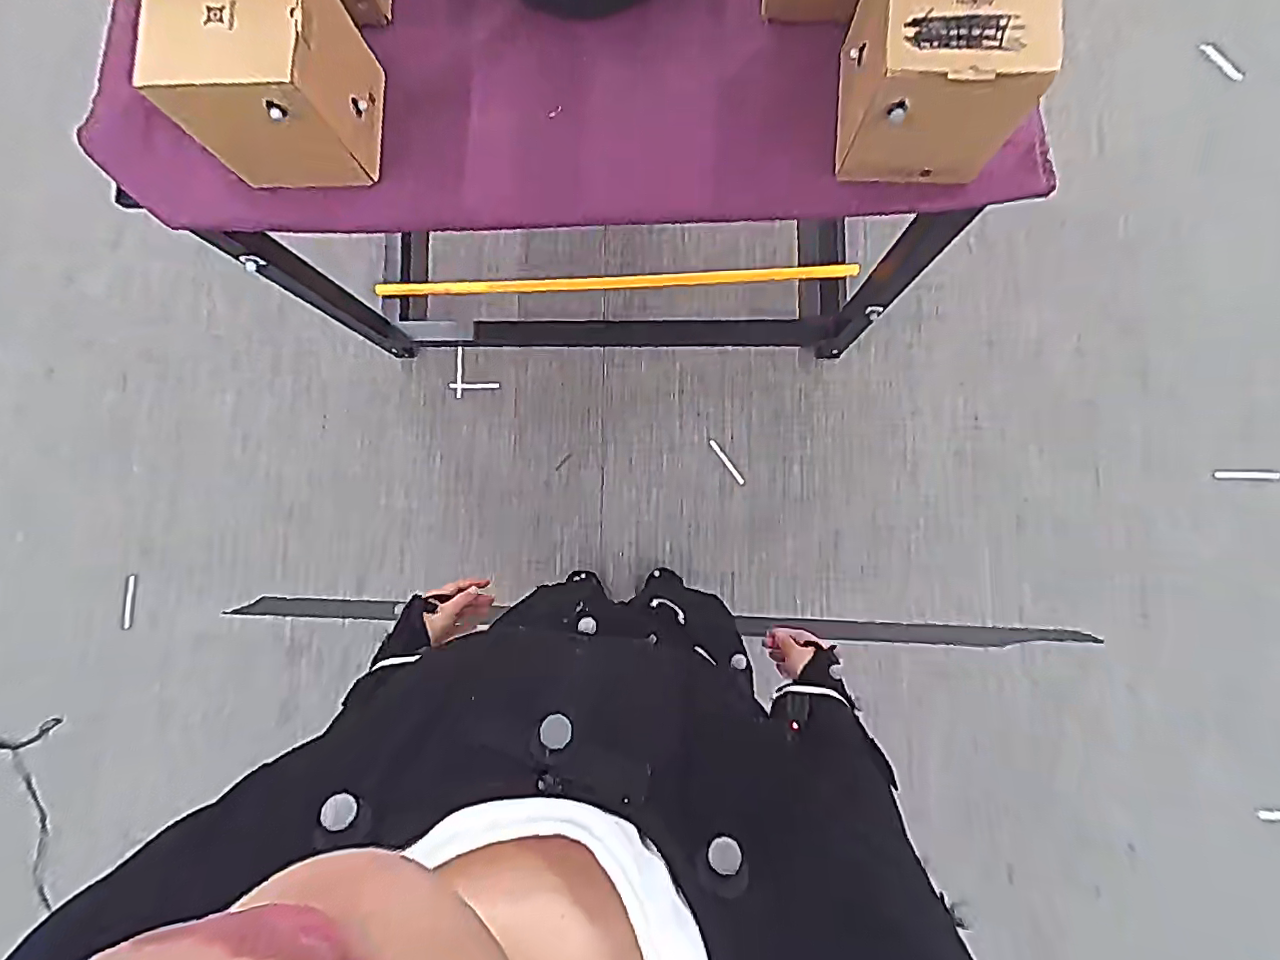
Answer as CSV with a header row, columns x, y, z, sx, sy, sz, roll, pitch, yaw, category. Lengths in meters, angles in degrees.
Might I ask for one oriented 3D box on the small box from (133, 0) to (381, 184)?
x,y,z,sx,sy,sz,roll,pitch,yaw,category
-0.446,-0.487,0.657,0.179,0.176,0.168,-1,84,2,small box
